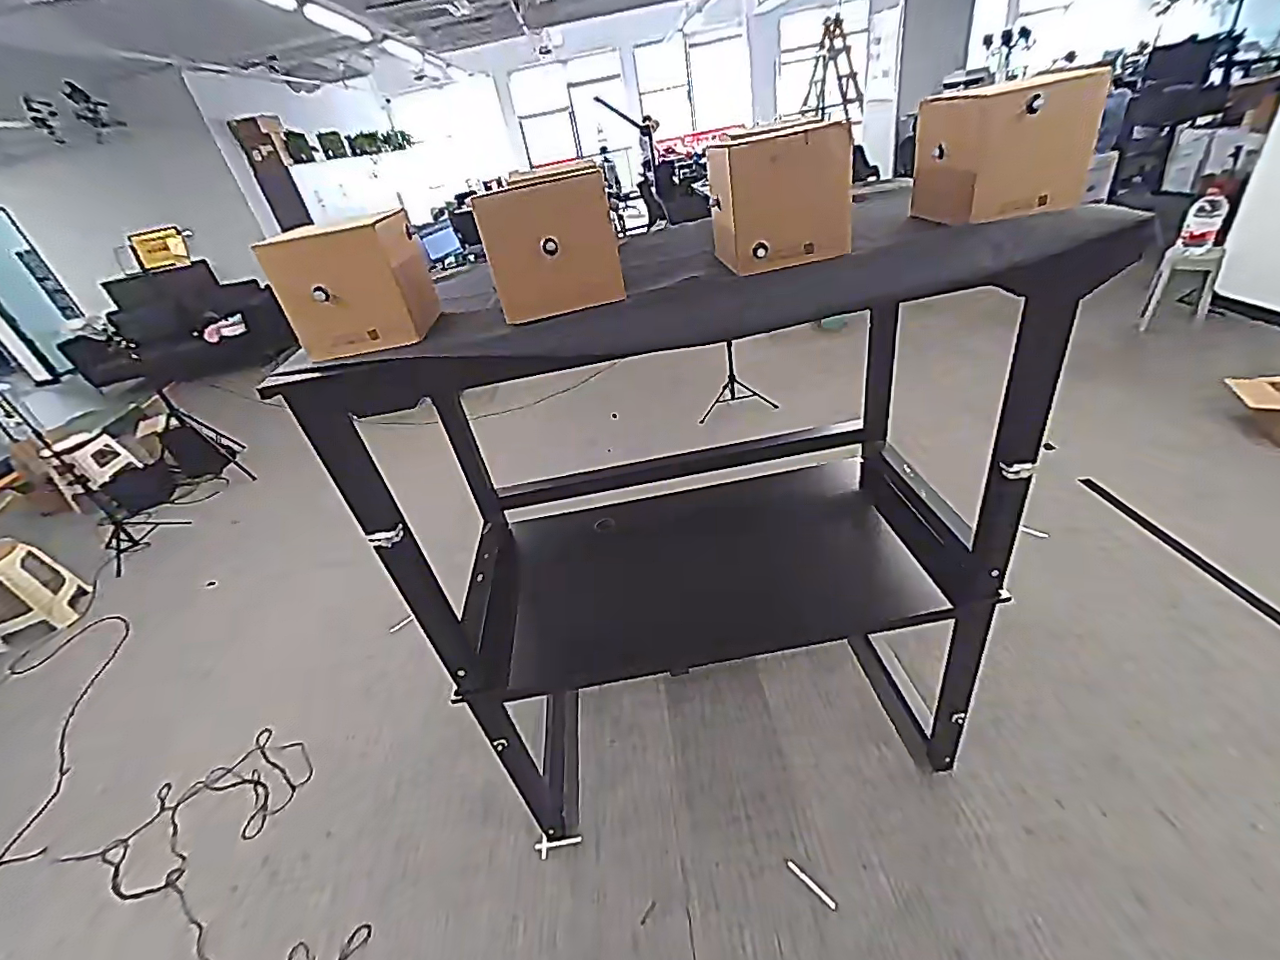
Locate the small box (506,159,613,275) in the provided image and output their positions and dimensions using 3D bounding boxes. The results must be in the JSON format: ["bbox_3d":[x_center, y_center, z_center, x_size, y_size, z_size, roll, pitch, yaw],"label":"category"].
[{"bbox_3d":[-0.151,-0.512,1.059,0.168,0.176,0.179,-11,34,0],"label":"small box"}]

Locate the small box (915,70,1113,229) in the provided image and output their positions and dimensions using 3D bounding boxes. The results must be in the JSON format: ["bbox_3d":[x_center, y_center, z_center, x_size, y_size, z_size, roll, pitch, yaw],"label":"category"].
[{"bbox_3d":[0.535,-0.485,0.808,0.168,0.176,0.179,-12,32,2],"label":"small box"}]

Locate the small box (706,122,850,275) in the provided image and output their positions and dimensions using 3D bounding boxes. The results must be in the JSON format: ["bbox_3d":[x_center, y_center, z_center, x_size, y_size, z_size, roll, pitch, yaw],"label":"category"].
[{"bbox_3d":[0.202,-0.416,0.808,0.168,0.176,0.179,-11,31,2],"label":"small box"}]

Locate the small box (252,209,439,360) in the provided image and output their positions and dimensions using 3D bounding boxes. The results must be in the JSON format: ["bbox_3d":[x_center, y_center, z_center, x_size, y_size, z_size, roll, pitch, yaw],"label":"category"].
[{"bbox_3d":[-0.423,-0.291,0.815,0.168,0.176,0.179,-11,33,-1],"label":"small box"}]

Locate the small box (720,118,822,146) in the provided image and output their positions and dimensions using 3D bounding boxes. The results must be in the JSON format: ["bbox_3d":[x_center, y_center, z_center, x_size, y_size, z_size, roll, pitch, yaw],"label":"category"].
[{"bbox_3d":[0.254,-0.593,1.061,0.168,0.176,0.179,-7,33,5],"label":"small box"}]
